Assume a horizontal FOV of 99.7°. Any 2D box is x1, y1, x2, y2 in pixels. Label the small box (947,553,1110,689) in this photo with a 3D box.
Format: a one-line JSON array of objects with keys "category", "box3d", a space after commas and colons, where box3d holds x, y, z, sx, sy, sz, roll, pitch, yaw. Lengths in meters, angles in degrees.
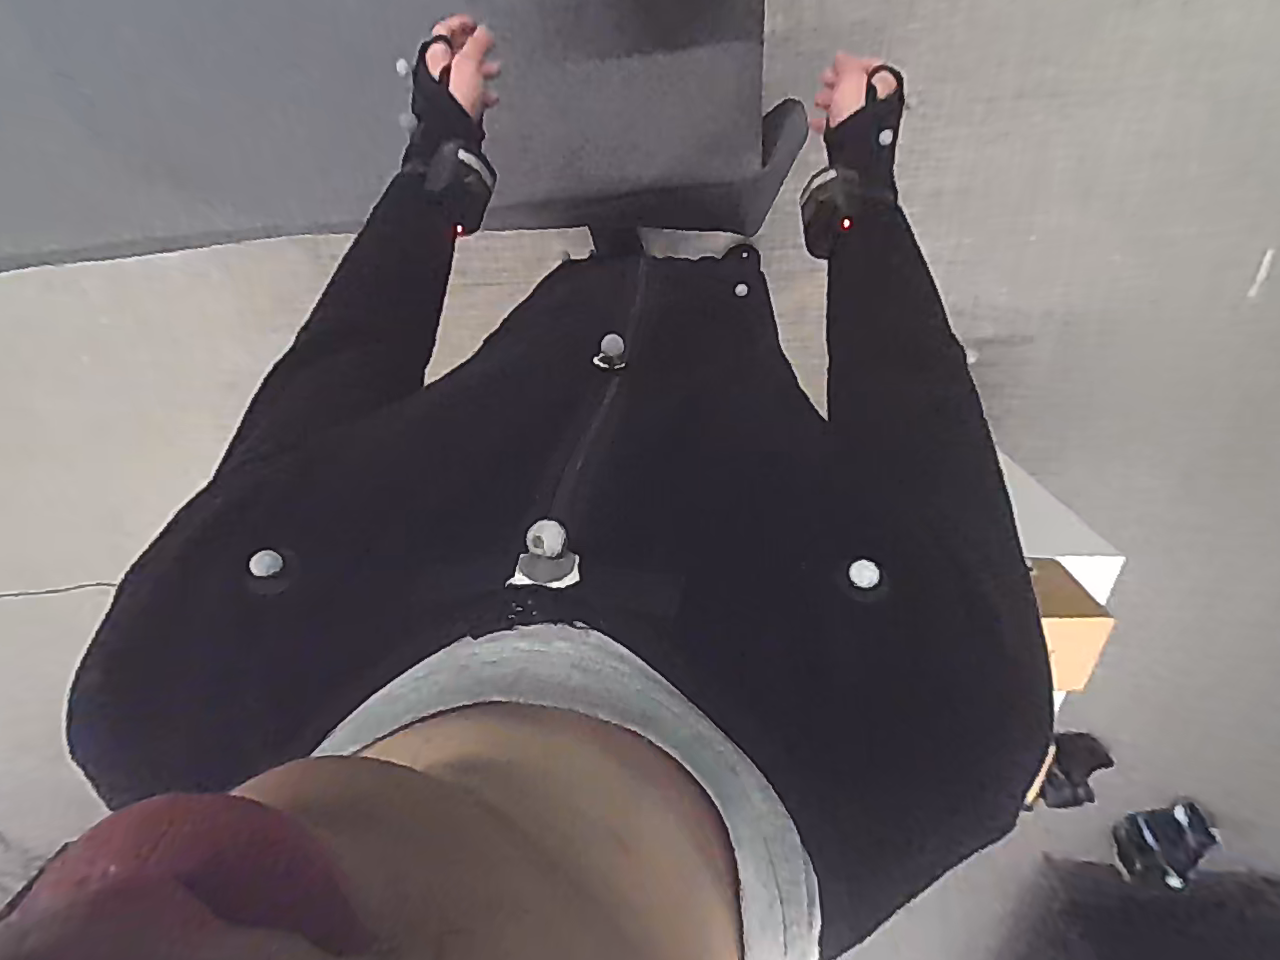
[{"category": "small box", "box3d": [0.692, 0.255, 0.990, 0.168, 0.176, 0.179, -4, 117, 3]}]
